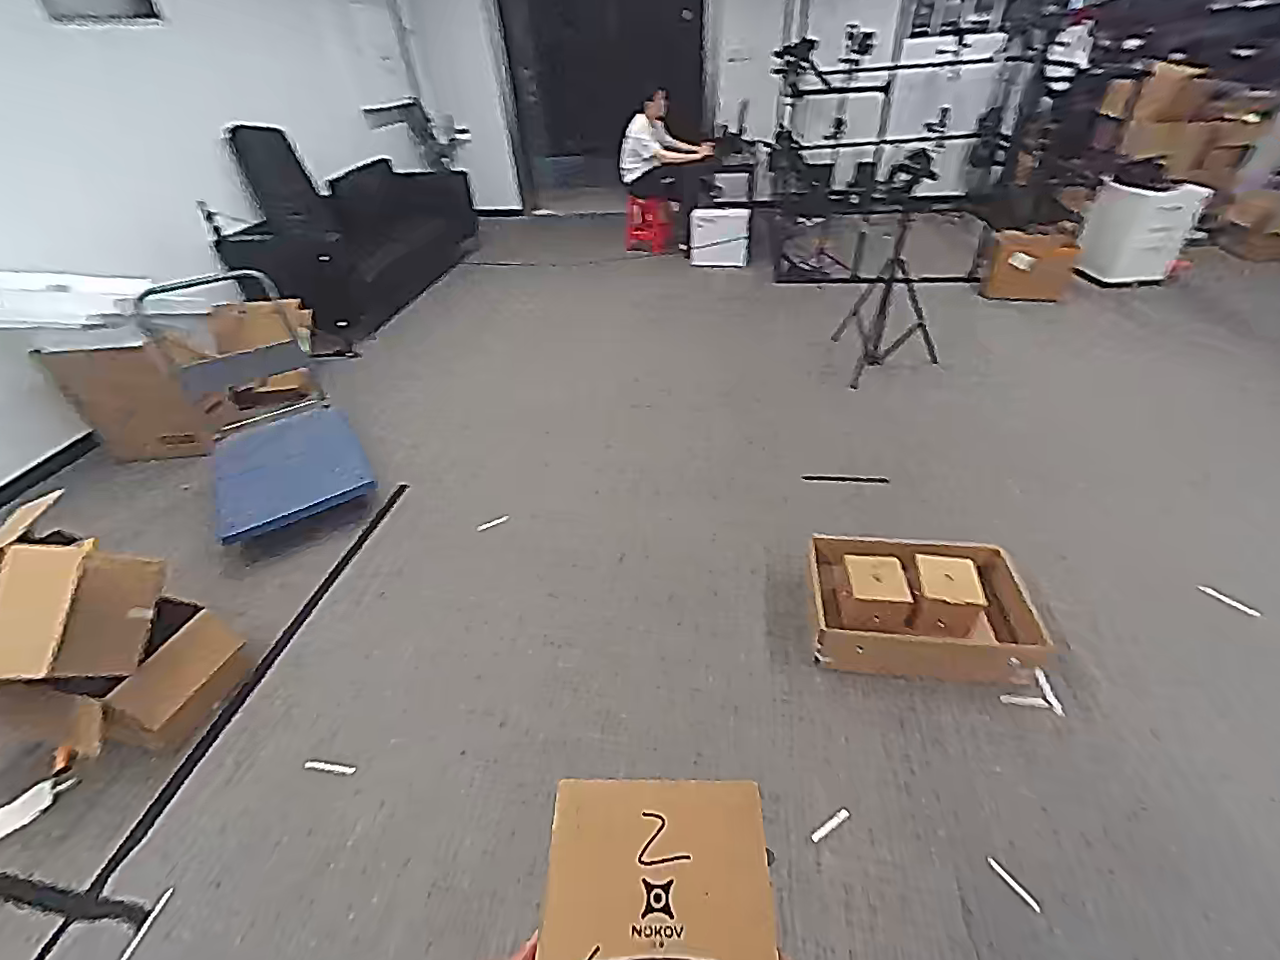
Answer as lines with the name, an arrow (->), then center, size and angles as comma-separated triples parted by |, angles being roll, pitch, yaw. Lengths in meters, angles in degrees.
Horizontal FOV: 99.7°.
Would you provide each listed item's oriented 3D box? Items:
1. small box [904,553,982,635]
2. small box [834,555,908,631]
small box -> 0.942, 0.358, 1.702 | 0.168, 0.176, 0.179 | 5, 40, 13
small box -> 0.724, 0.361, 1.716 | 0.168, 0.176, 0.179 | 2, 39, 6
